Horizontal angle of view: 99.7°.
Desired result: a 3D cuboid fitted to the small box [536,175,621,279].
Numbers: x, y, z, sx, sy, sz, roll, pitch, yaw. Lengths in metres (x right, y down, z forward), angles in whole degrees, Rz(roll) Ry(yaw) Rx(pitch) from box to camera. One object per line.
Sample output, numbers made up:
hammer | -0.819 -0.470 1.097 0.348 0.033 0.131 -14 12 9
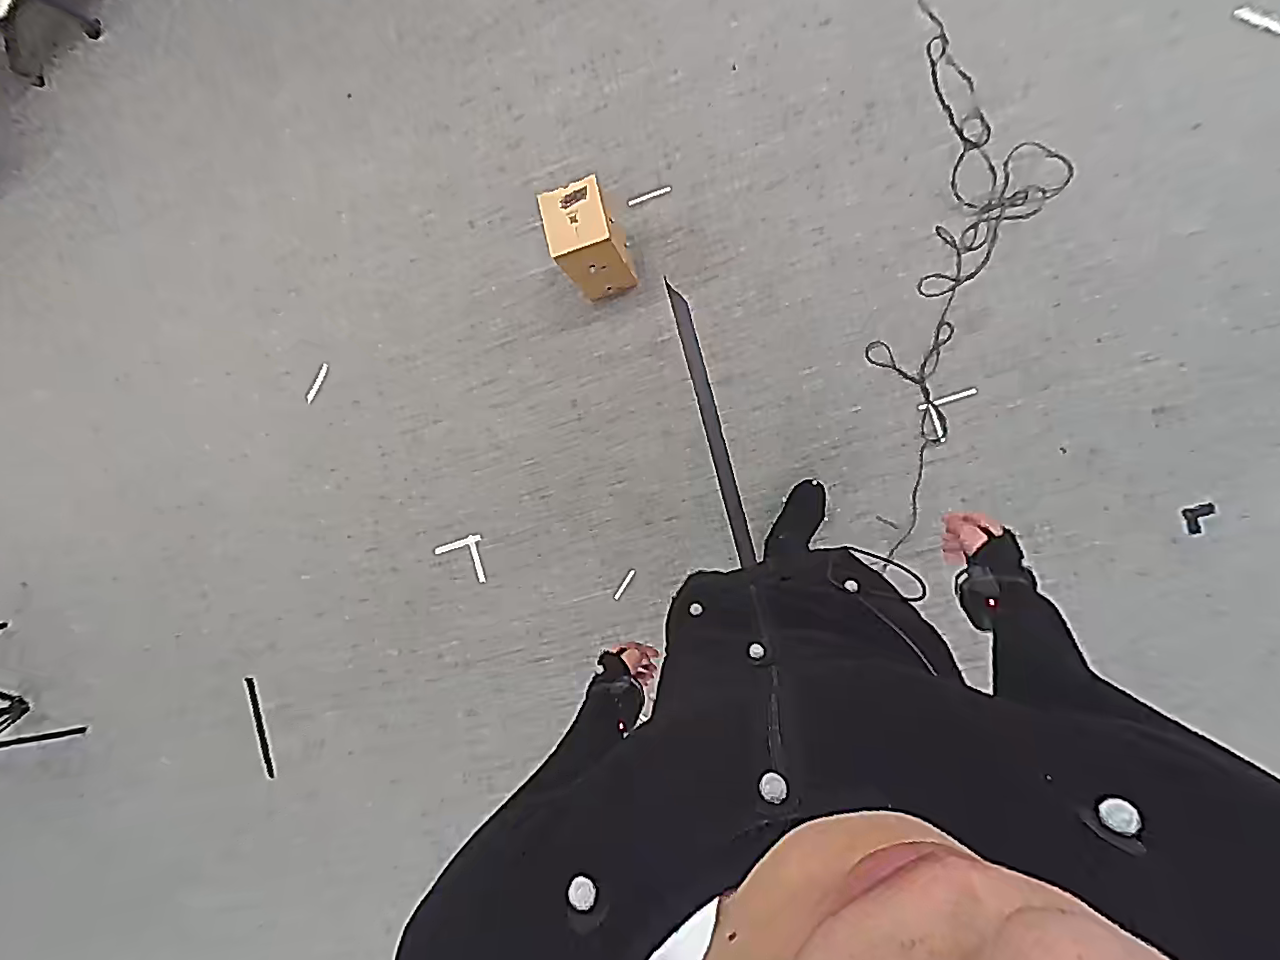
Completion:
small box | -0.161 -0.678 1.471 0.168 0.176 0.179 -14 87 12
